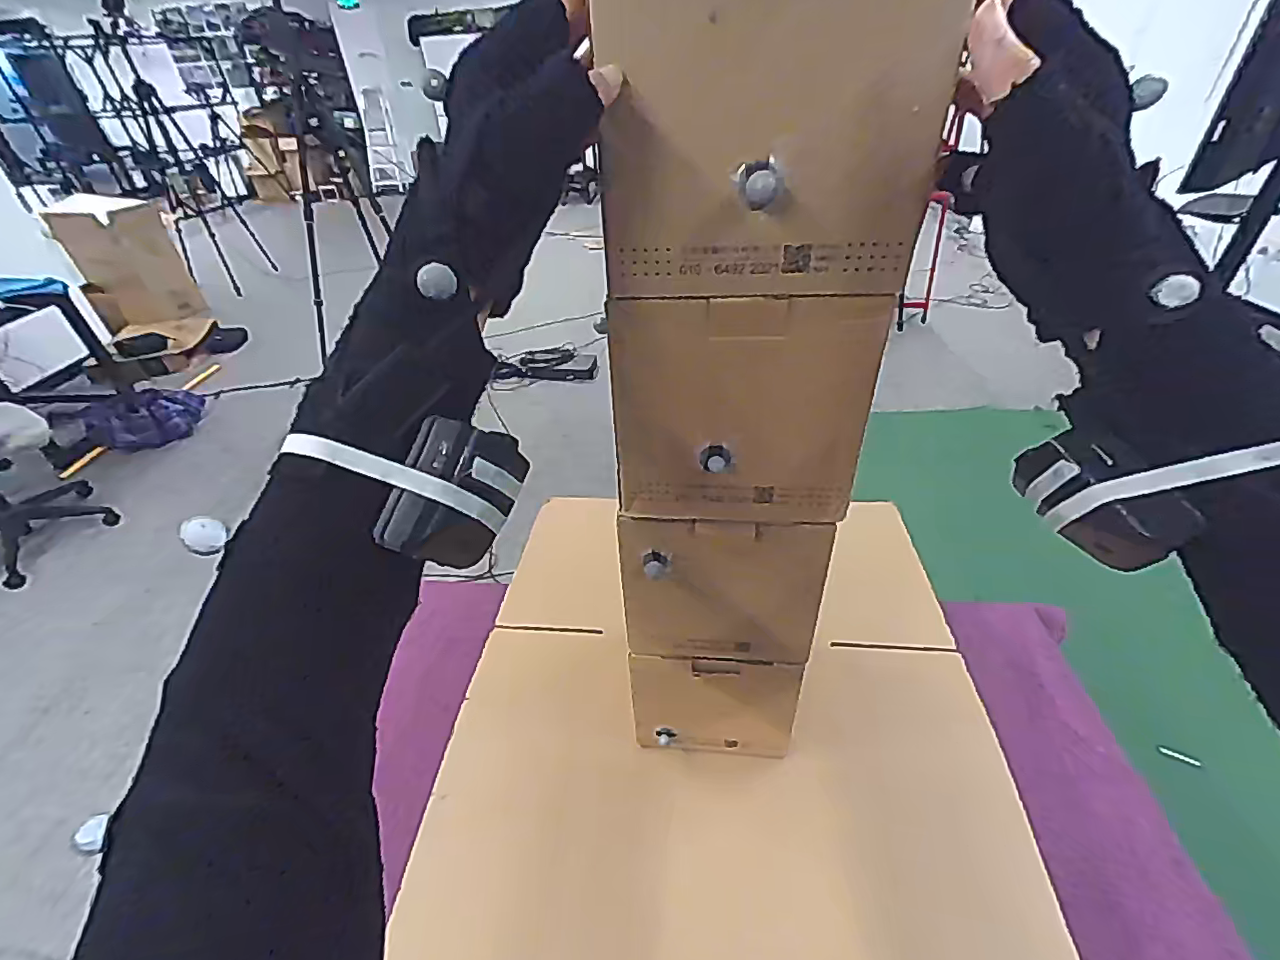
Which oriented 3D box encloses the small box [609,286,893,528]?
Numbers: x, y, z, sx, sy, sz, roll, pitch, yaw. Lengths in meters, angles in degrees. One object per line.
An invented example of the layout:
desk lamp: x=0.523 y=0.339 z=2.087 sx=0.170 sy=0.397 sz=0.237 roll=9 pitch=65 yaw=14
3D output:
small box: x=0.071 y=-0.084 z=0.424 sx=0.168 sy=0.176 sz=0.179 roll=1 pitch=36 yaw=5

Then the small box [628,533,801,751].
small box: x=0.083 y=0.182 z=0.616 sx=0.168 sy=0.176 sz=0.179 roll=1 pitch=36 yaw=7

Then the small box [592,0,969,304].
small box: x=0.066 y=-0.216 z=0.327 sx=0.168 sy=0.176 sz=0.179 roll=1 pitch=37 yaw=6
